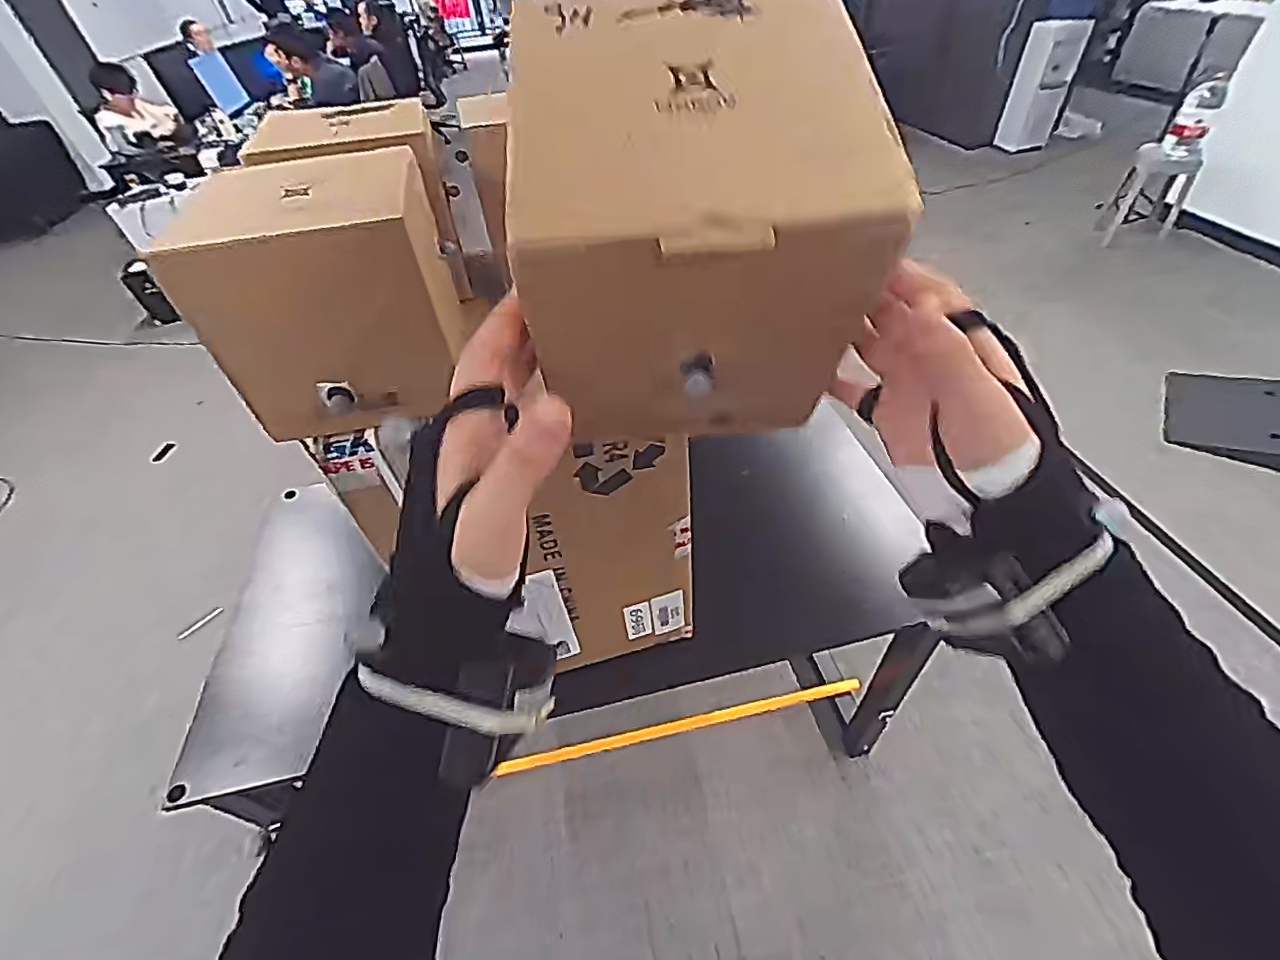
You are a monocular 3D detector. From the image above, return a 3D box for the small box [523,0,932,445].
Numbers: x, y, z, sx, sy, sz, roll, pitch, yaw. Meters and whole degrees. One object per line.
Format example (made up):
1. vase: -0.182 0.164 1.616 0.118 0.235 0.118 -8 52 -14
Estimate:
1. small box: 0.032 -0.128 0.317 0.168 0.176 0.179 -3 68 -1
